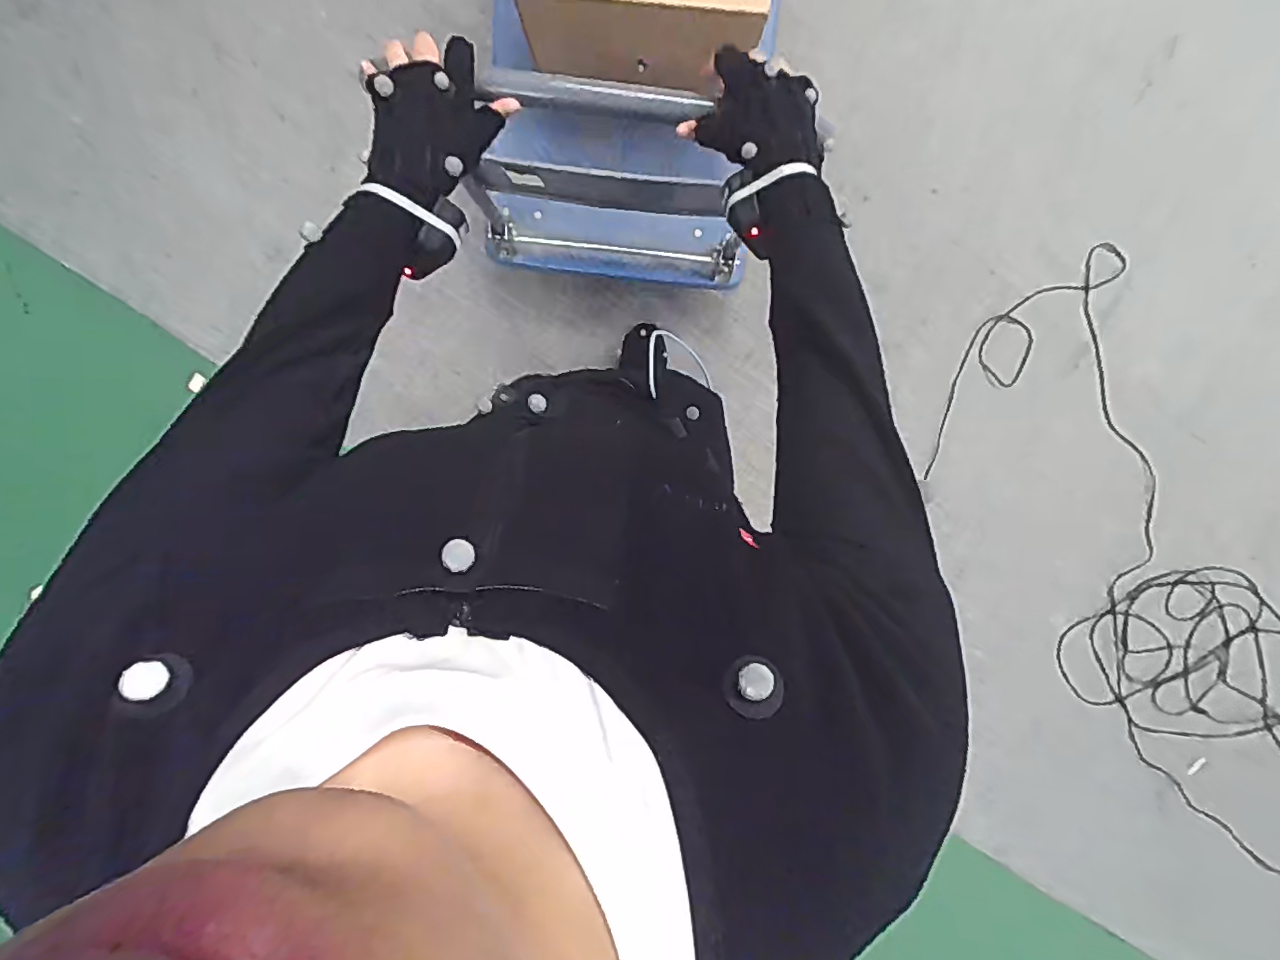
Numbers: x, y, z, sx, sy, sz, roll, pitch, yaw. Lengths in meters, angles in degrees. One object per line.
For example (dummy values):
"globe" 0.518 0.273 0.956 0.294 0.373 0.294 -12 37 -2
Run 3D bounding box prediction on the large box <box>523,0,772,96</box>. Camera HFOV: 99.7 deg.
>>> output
"large box" 0.020 -0.930 0.958 0.408 0.320 0.320 4 102 -1
